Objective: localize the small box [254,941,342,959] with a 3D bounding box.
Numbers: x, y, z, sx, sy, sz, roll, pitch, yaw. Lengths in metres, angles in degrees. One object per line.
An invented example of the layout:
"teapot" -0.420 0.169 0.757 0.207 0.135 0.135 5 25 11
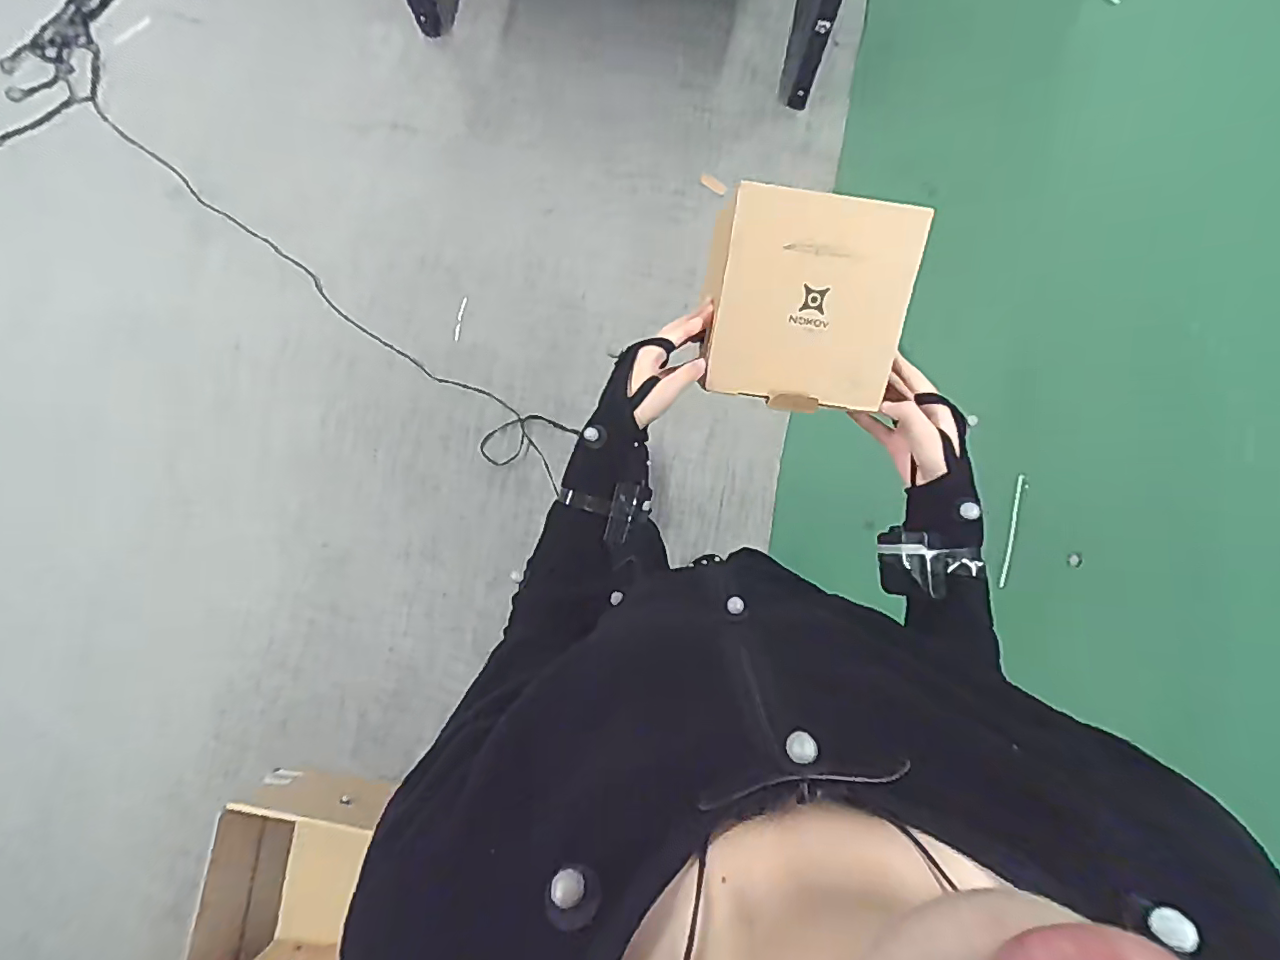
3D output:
"small box" -0.663 0.990 0.978 0.168 0.176 0.179 6 82 2
